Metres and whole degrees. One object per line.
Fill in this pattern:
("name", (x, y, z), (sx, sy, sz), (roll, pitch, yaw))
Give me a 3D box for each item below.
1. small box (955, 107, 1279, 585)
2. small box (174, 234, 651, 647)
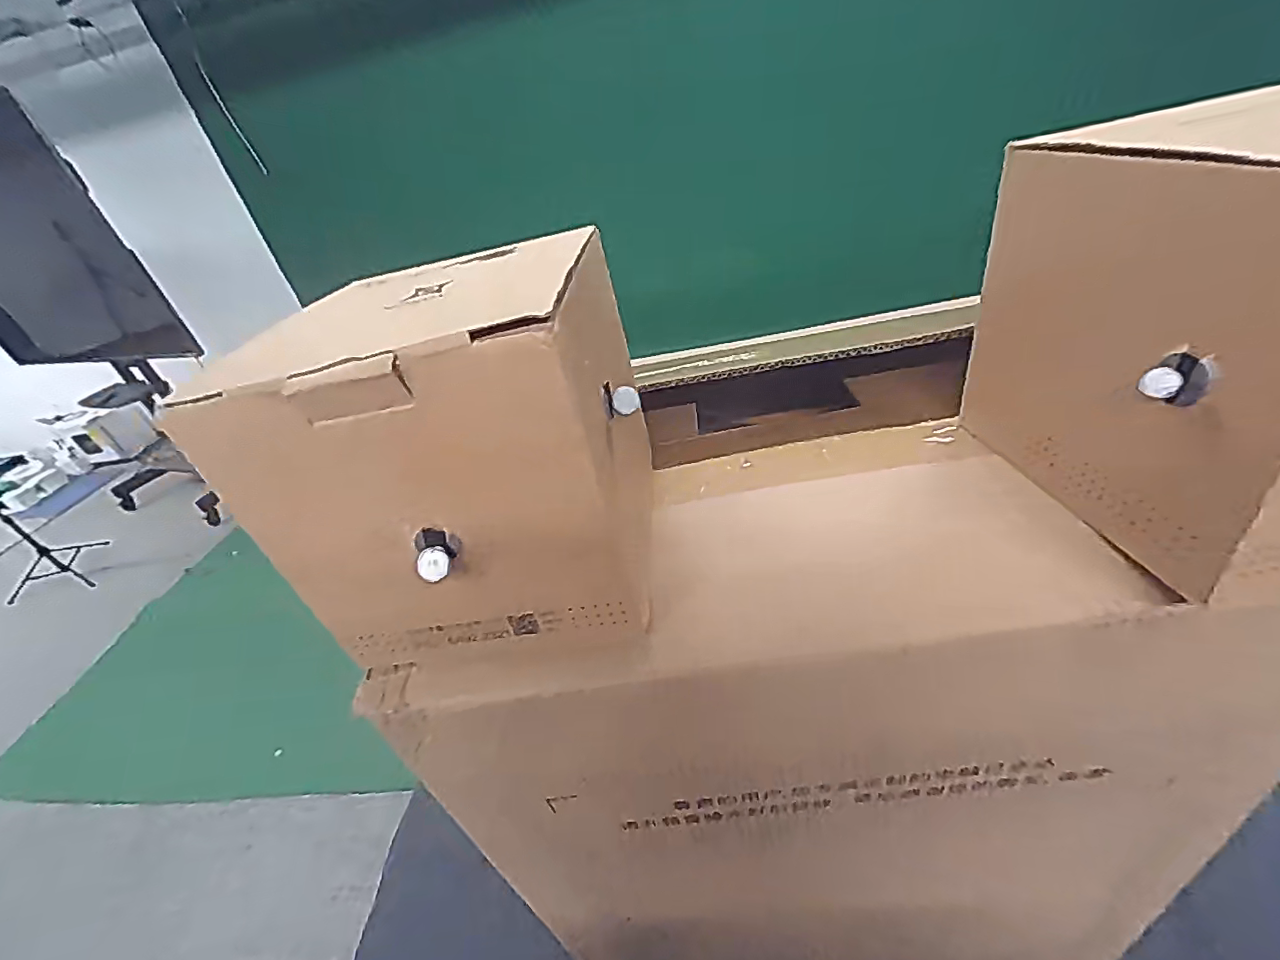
("small box", (0.290, -0.068, 0.261), (0.168, 0.176, 0.179), (-11, 34, -1))
("small box", (-0.088, -0.020, 0.316), (0.168, 0.176, 0.179), (-9, 35, 7))
